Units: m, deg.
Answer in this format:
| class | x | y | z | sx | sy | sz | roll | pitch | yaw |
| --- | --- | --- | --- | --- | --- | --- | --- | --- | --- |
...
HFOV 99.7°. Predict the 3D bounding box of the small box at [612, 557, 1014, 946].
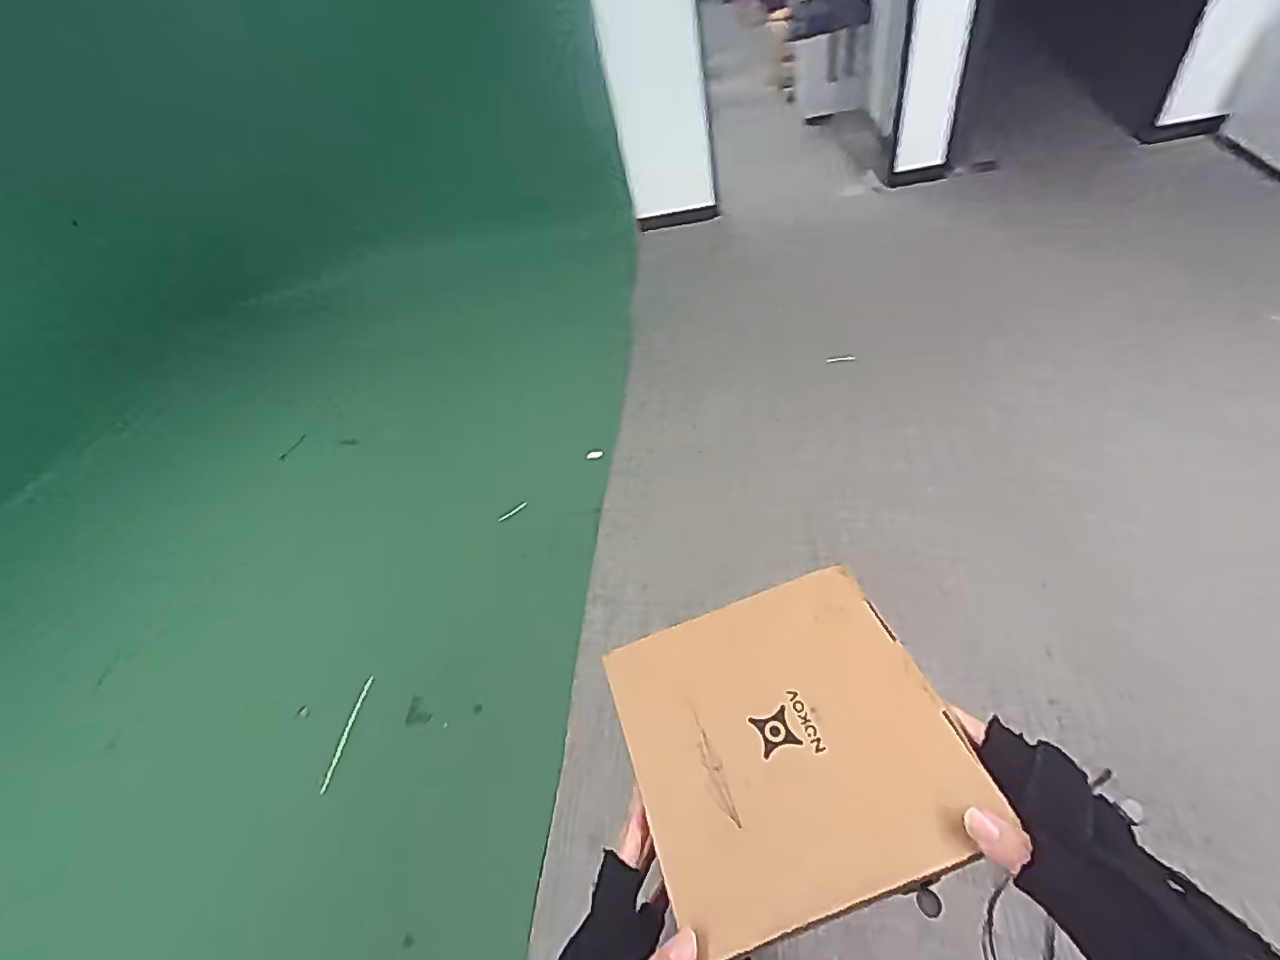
| class | x | y | z | sx | sy | sz | roll | pitch | yaw |
| --- | --- | --- | --- | --- | --- | --- | --- | --- | --- |
| small box | 0.099 | 0.187 | 0.374 | 0.179 | 0.176 | 0.168 | -21 | 47 | -2 |
